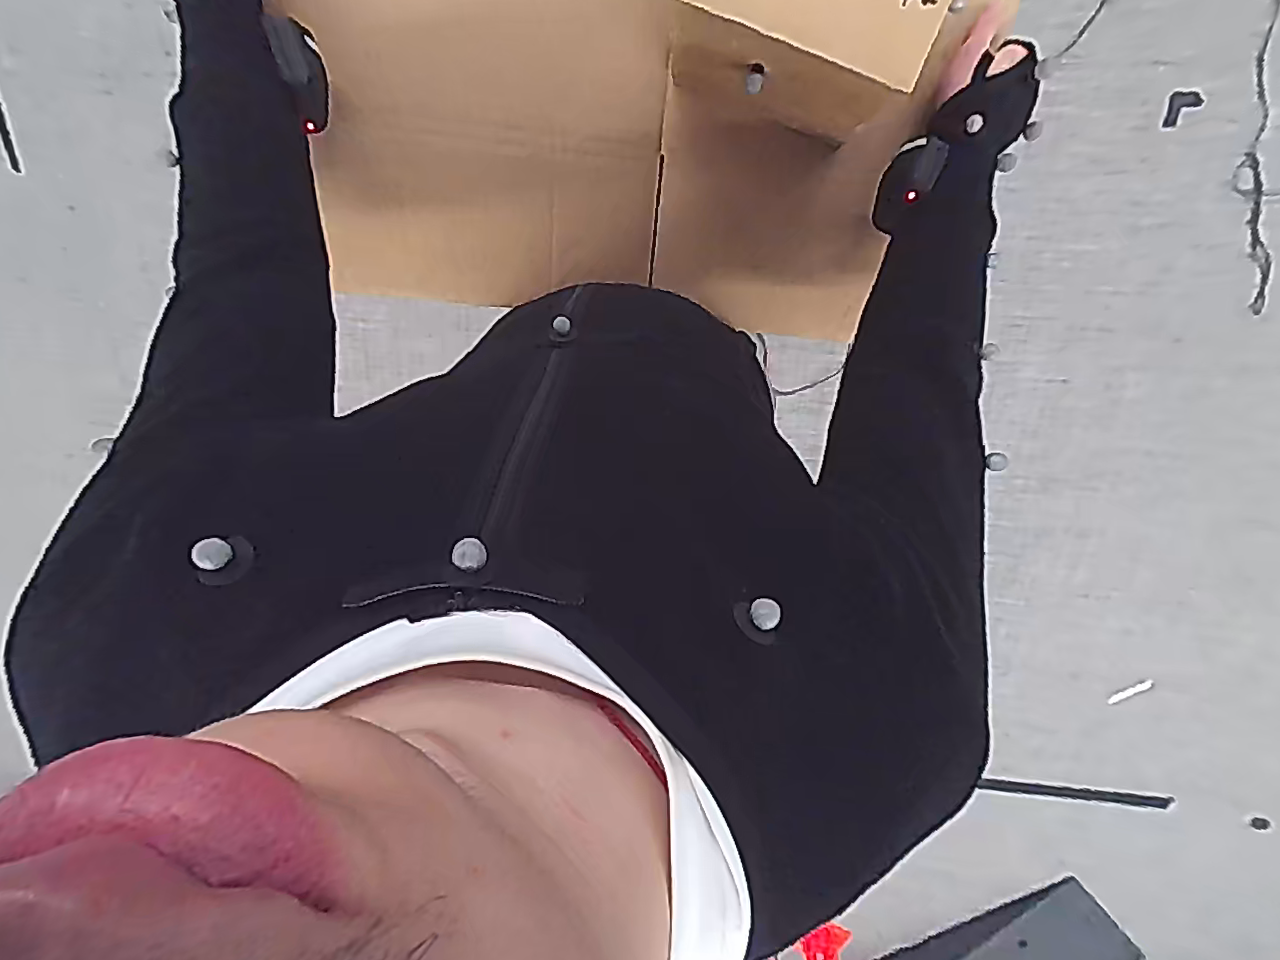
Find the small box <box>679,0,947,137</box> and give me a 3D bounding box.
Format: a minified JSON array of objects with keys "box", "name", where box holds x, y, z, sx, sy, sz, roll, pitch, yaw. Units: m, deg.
[{"box":[0.136,-0.394,0.415,0.179,0.176,0.168,19,111,-2],"name":"small box"}]
